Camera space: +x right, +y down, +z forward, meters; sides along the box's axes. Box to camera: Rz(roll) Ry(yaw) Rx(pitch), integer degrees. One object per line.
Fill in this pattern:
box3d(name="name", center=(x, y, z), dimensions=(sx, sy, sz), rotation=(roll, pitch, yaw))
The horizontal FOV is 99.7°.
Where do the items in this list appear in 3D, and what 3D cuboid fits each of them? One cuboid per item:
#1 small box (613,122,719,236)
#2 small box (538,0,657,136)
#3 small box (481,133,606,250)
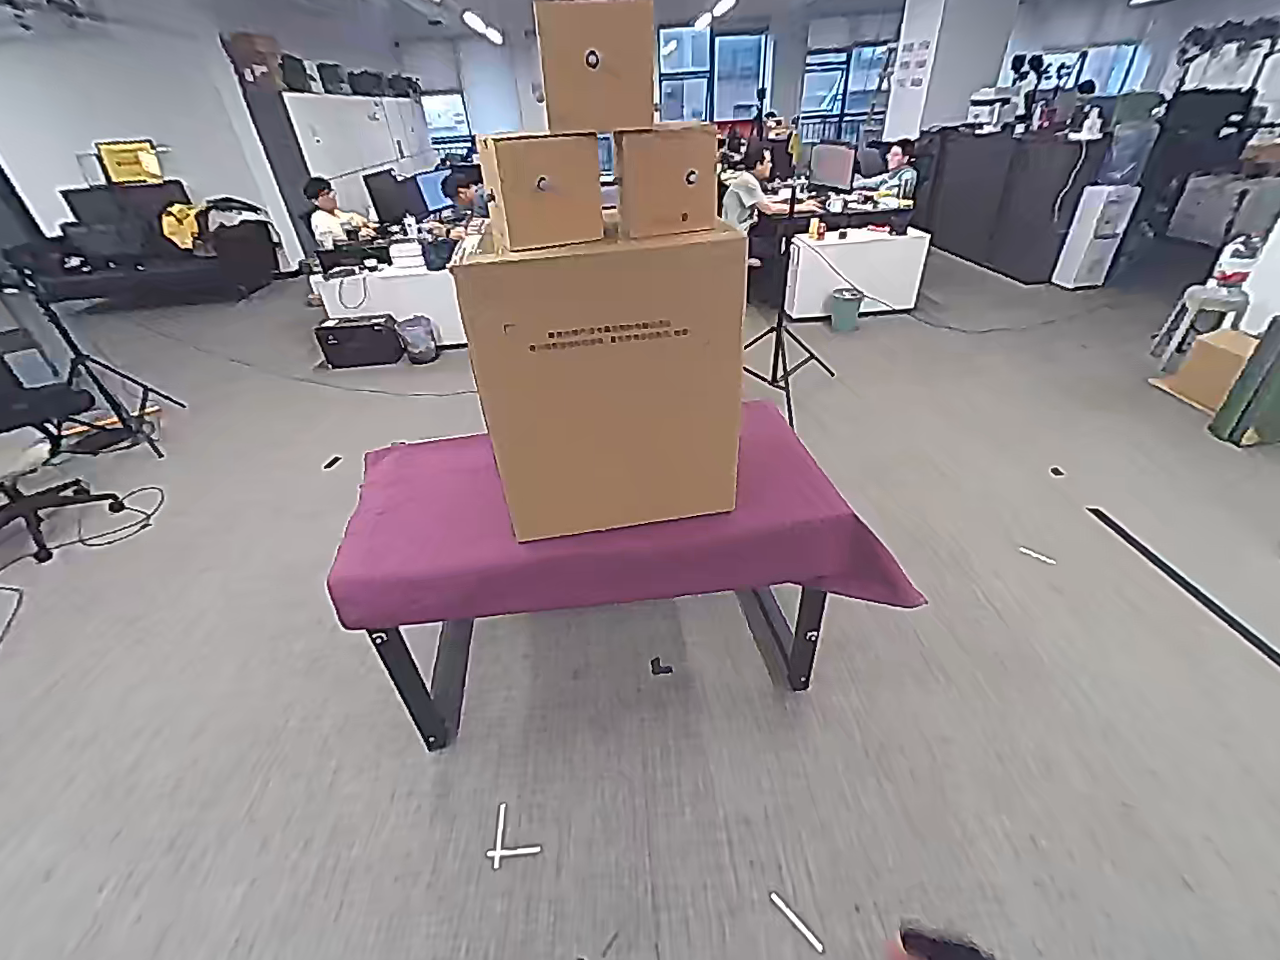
box3d(name="small box", center=(0.046, -0.561, 1.010), dimensions=(0.168, 0.176, 0.179), rotation=(-8, 34, -6))
box3d(name="small box", center=(-0.067, -0.674, 0.896), dimensions=(0.179, 0.176, 0.168), rotation=(-6, 35, -4))
box3d(name="small box", center=(-0.172, -0.524, 0.978), dimensions=(0.179, 0.176, 0.168), rotation=(-15, 37, -18))
